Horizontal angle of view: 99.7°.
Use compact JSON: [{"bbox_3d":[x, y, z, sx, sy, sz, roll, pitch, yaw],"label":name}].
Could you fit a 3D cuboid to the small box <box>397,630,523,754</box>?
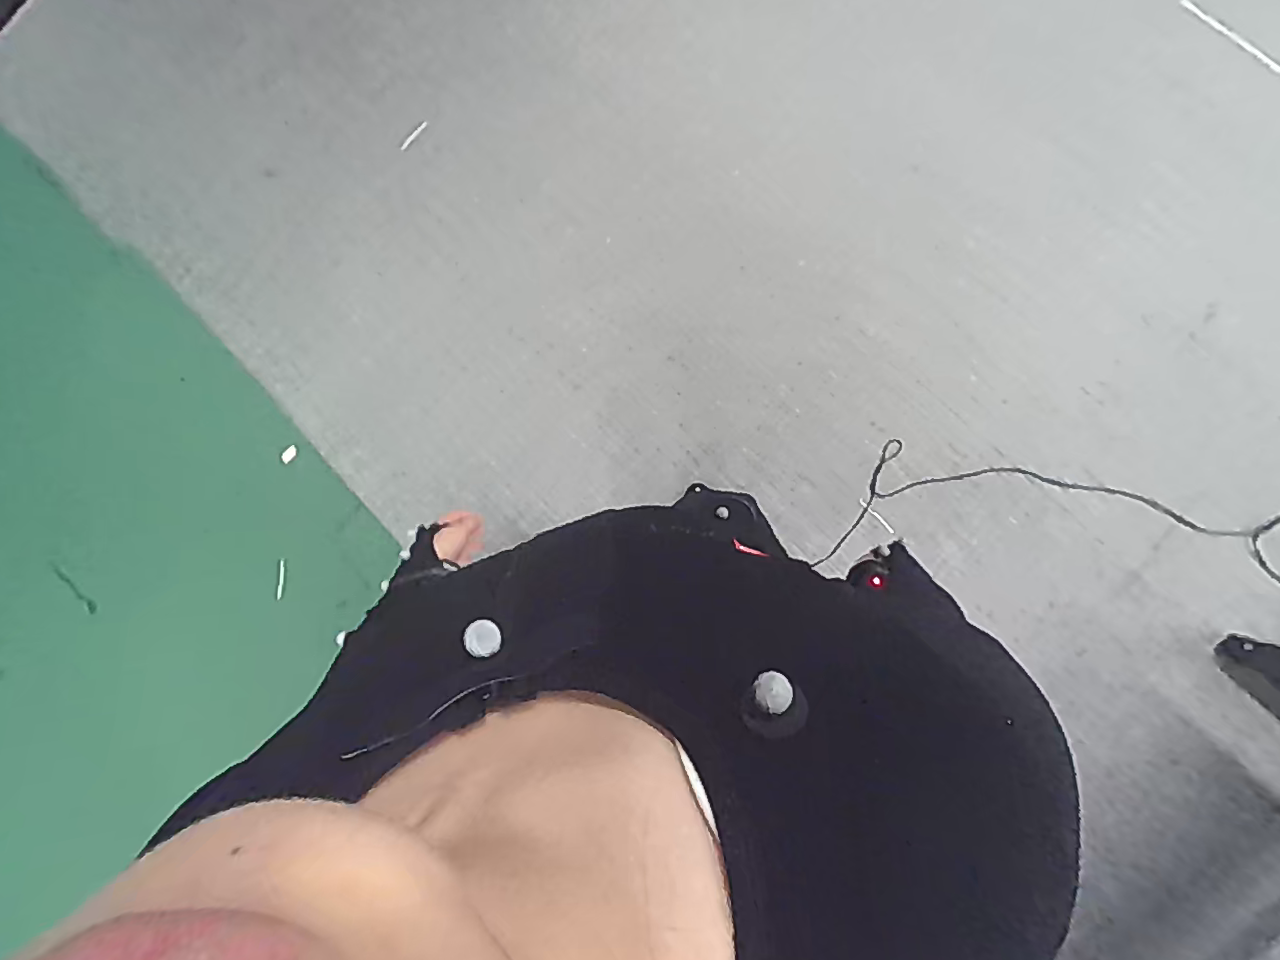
[{"bbox_3d":[-0.392,0.462,1.212,0.168,0.176,0.179,-44,83,0],"label":"small box"}]
